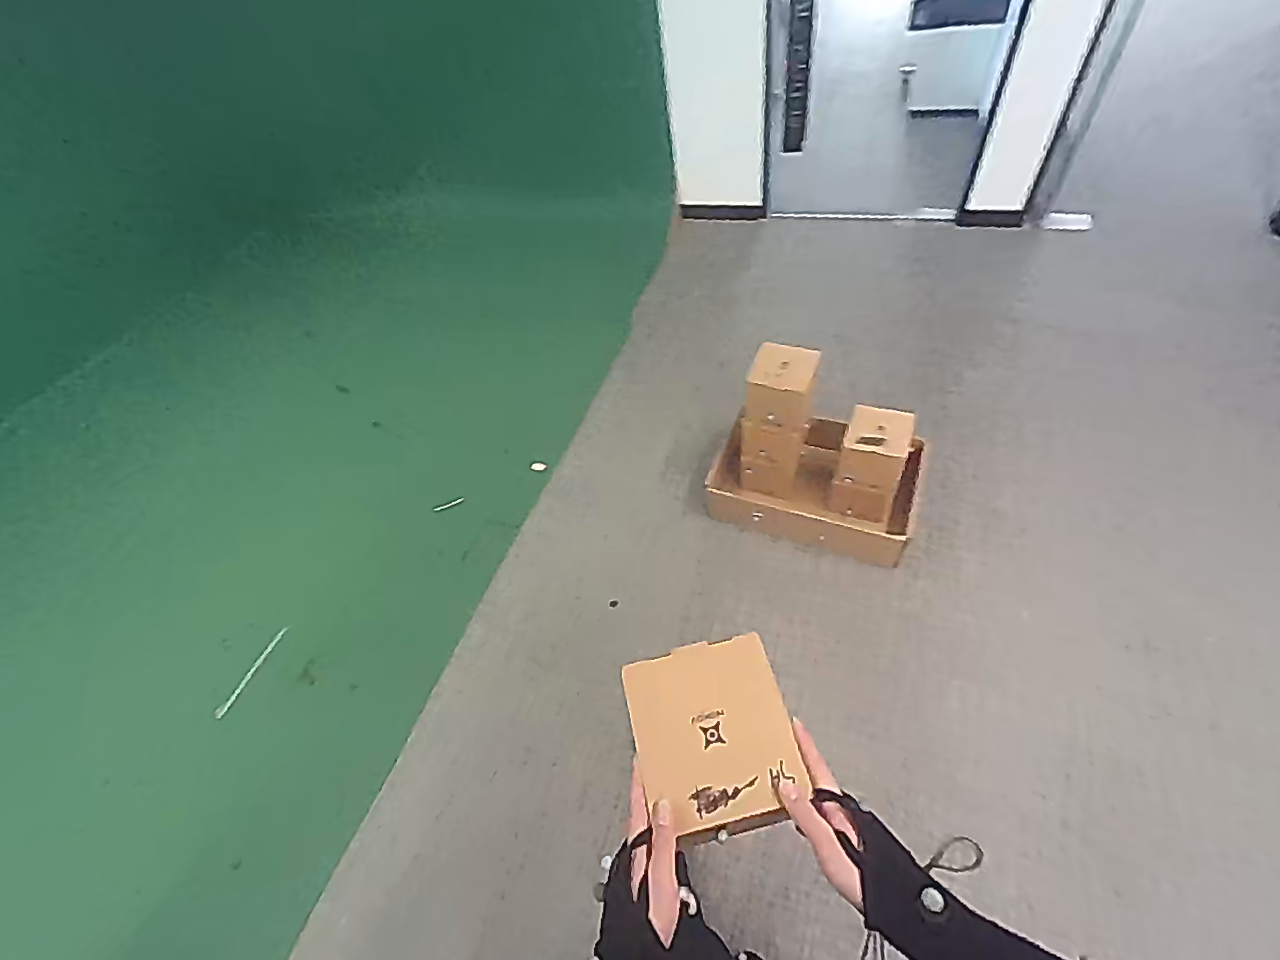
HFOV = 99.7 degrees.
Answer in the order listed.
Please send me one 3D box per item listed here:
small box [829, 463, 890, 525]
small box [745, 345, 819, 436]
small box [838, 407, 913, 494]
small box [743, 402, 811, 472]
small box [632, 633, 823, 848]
[{"bbox_3d":[0.702,0.014,1.708,0.168,0.176,0.179,14,58,23],"label":"small box"},{"bbox_3d":[0.404,-0.258,1.560,0.168,0.176,0.179,16,57,21],"label":"small box"},{"bbox_3d":[0.682,-0.083,1.577,0.168,0.176,0.179,14,56,22],"label":"small box"},{"bbox_3d":[0.422,-0.155,1.687,0.168,0.176,0.179,16,57,21],"label":"small box"},{"bbox_3d":[0.092,0.307,0.632,0.168,0.176,0.179,-13,52,-1],"label":"small box"}]
